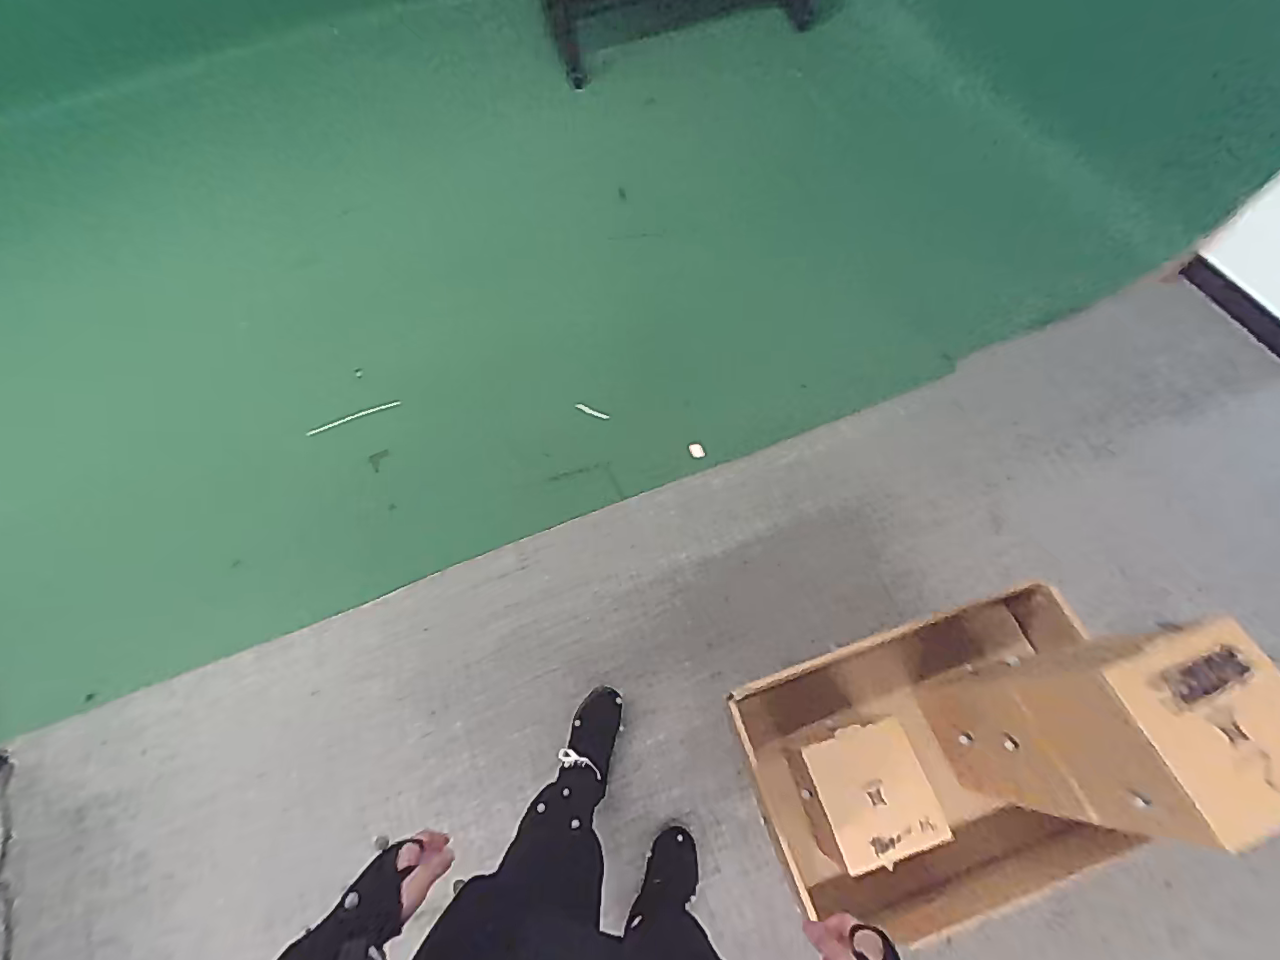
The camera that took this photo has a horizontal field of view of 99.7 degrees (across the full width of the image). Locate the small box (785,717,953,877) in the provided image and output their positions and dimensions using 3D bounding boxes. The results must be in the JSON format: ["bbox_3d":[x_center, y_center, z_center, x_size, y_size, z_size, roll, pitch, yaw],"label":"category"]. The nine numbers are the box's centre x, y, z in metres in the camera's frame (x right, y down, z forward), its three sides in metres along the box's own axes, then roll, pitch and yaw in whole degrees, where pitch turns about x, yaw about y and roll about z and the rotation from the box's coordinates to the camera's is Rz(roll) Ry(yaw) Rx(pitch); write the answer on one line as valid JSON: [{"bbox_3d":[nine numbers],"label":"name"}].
[{"bbox_3d":[0.355,0.504,0.881,0.168,0.176,0.179,-16,65,-5],"label":"small box"}]

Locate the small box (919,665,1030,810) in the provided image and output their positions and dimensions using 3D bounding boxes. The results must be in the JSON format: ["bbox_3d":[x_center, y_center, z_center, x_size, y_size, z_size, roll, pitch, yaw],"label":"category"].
[{"bbox_3d":[0.612,0.420,0.907,0.168,0.176,0.179,-18,66,-5],"label":"small box"}]

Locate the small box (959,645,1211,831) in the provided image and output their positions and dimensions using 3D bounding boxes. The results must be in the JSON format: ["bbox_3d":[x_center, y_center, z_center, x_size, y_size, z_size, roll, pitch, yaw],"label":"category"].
[{"bbox_3d":[0.598,0.353,0.758,0.168,0.176,0.179,-20,65,-5],"label":"small box"}]
